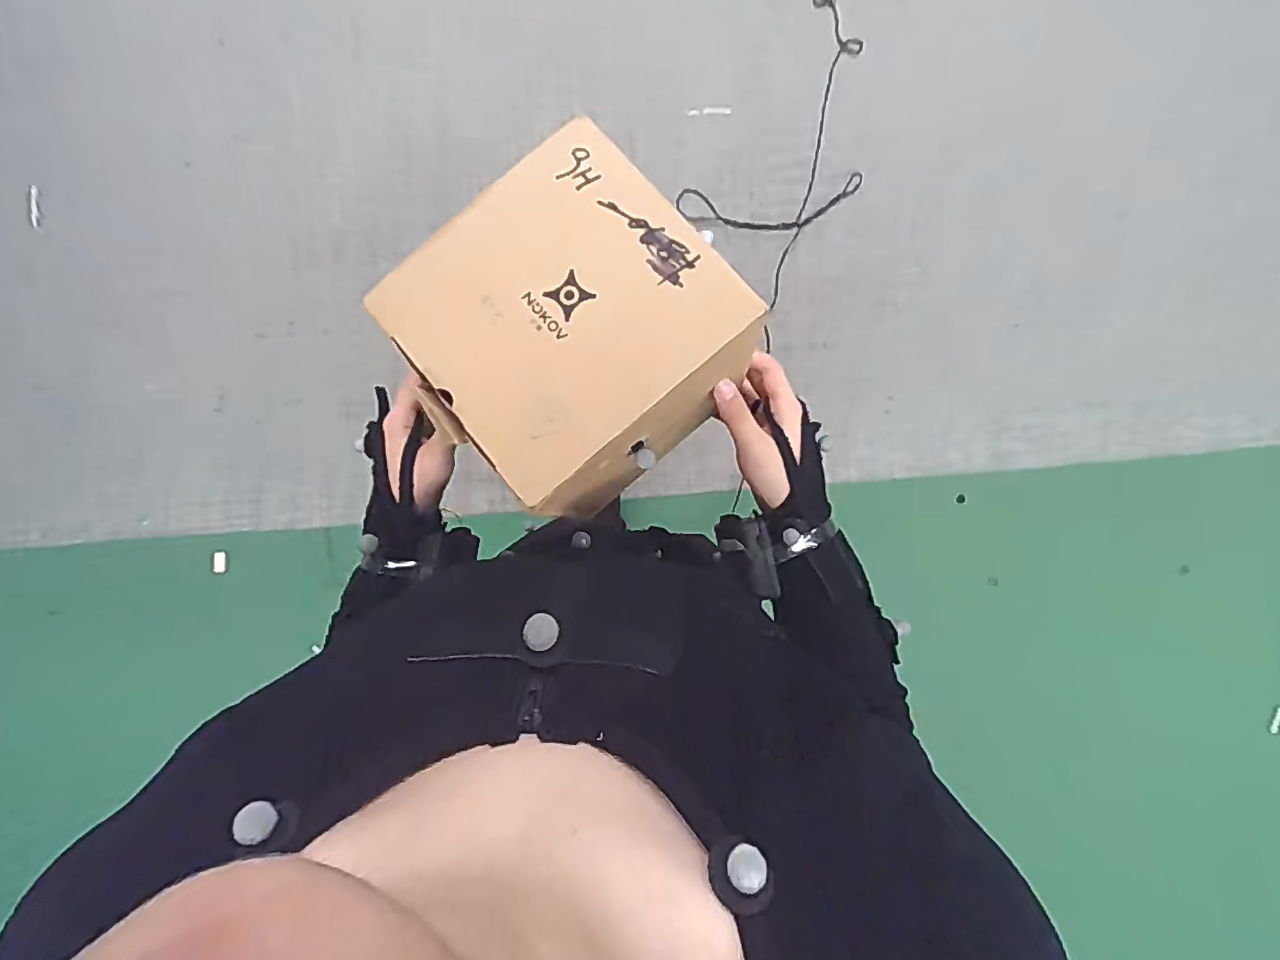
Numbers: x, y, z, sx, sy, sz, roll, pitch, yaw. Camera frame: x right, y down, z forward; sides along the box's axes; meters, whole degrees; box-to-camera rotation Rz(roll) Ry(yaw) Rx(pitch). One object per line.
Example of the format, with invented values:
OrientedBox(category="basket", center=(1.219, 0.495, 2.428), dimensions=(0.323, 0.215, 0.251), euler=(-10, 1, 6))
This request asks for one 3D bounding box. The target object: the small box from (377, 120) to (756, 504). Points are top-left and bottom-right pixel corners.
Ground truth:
OrientedBox(category="small box", center=(-0.039, -0.096, 0.398), dimensions=(0.179, 0.176, 0.168), euler=(-41, 82, 0))
